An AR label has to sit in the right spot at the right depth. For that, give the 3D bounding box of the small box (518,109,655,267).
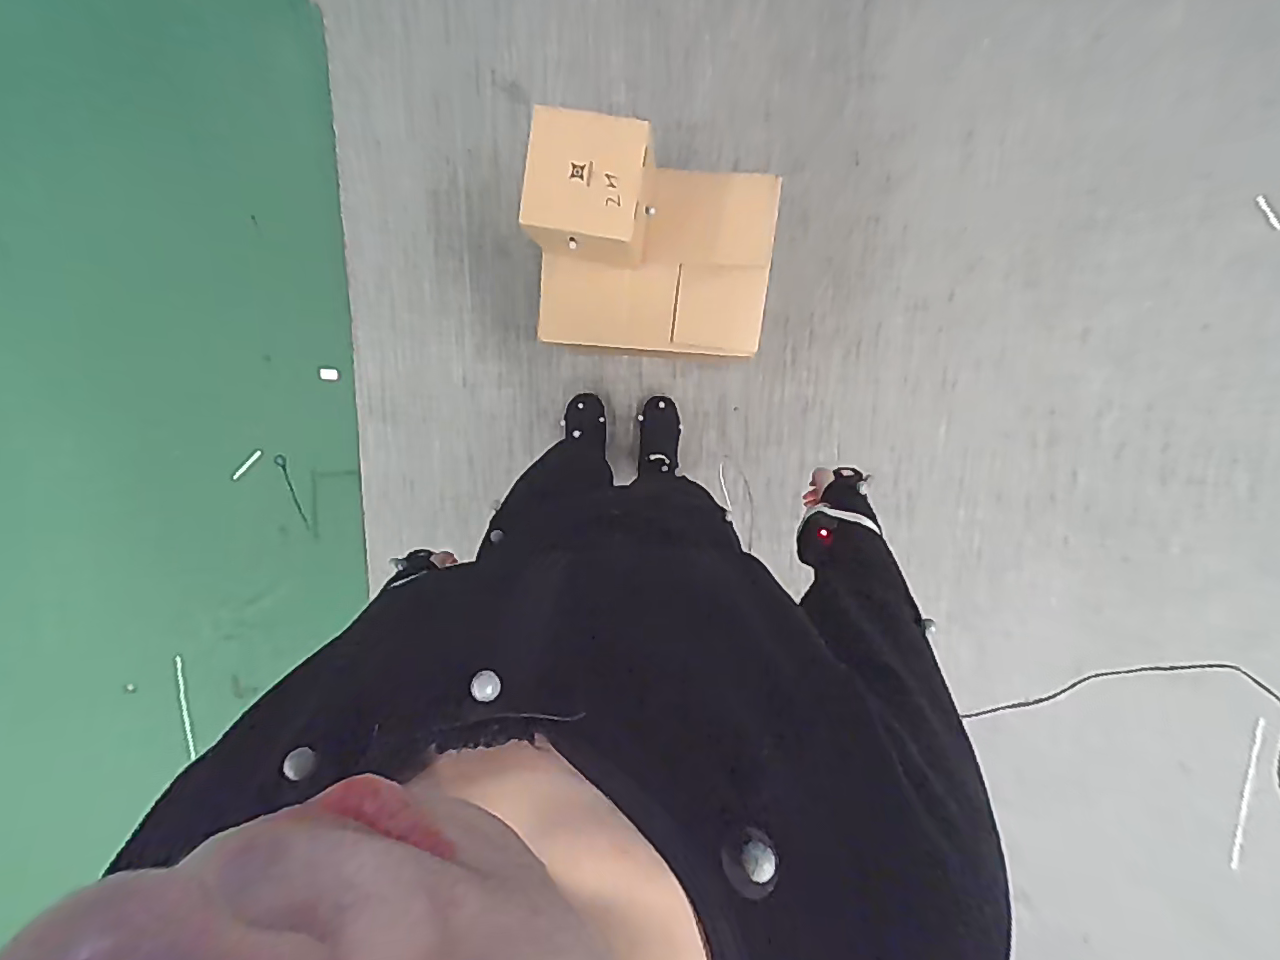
[{"bbox_3d":[-0.078,-0.454,0.869,0.179,0.176,0.168,11,100,2],"label":"small box"}]
